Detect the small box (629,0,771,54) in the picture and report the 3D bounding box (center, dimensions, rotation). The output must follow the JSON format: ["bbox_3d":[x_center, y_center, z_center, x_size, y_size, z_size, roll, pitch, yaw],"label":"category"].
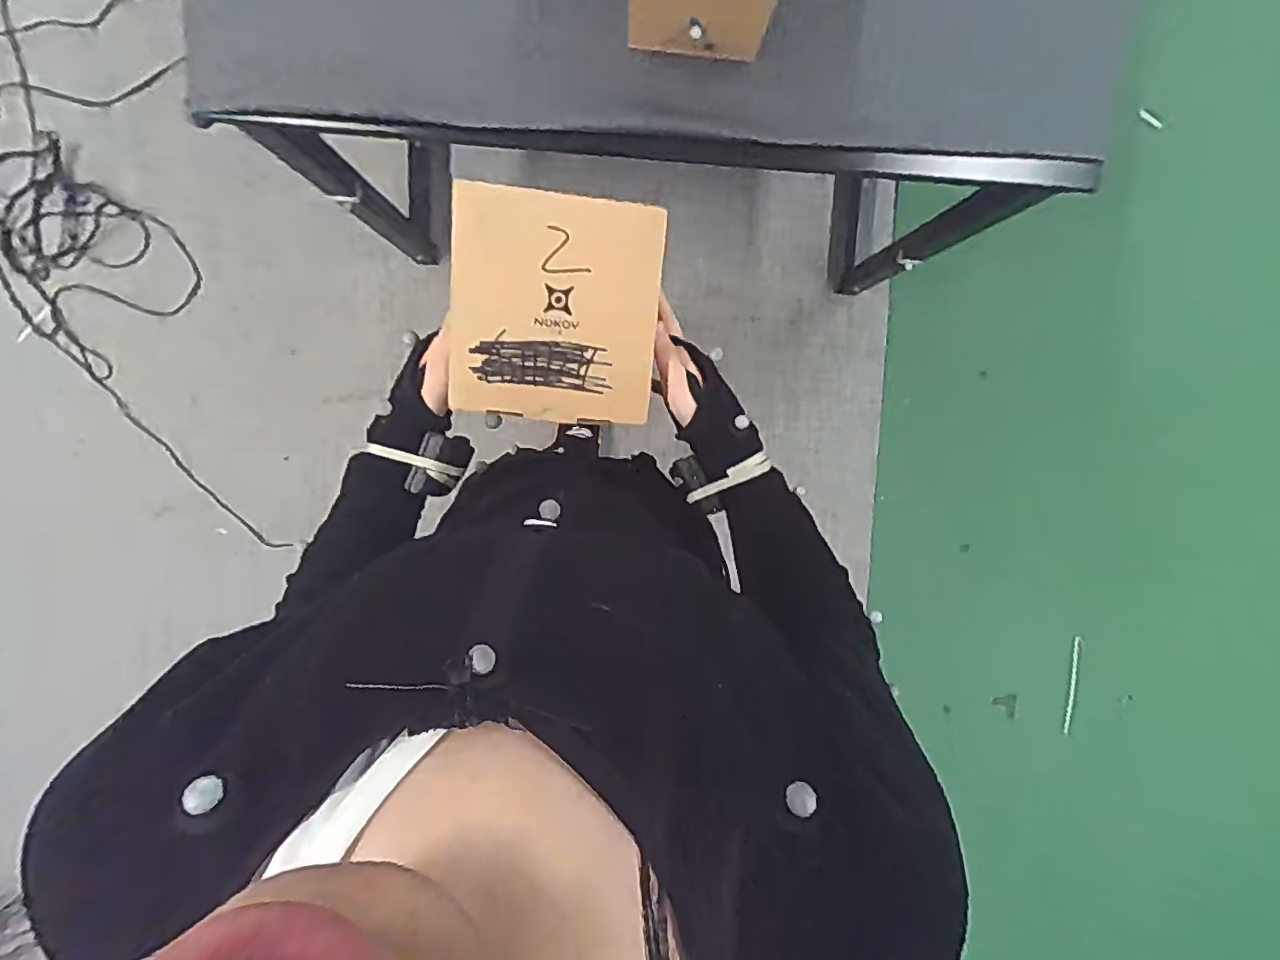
[{"bbox_3d":[0.074,-0.631,0.603,0.168,0.176,0.179,3,96,-3],"label":"small box"}]
